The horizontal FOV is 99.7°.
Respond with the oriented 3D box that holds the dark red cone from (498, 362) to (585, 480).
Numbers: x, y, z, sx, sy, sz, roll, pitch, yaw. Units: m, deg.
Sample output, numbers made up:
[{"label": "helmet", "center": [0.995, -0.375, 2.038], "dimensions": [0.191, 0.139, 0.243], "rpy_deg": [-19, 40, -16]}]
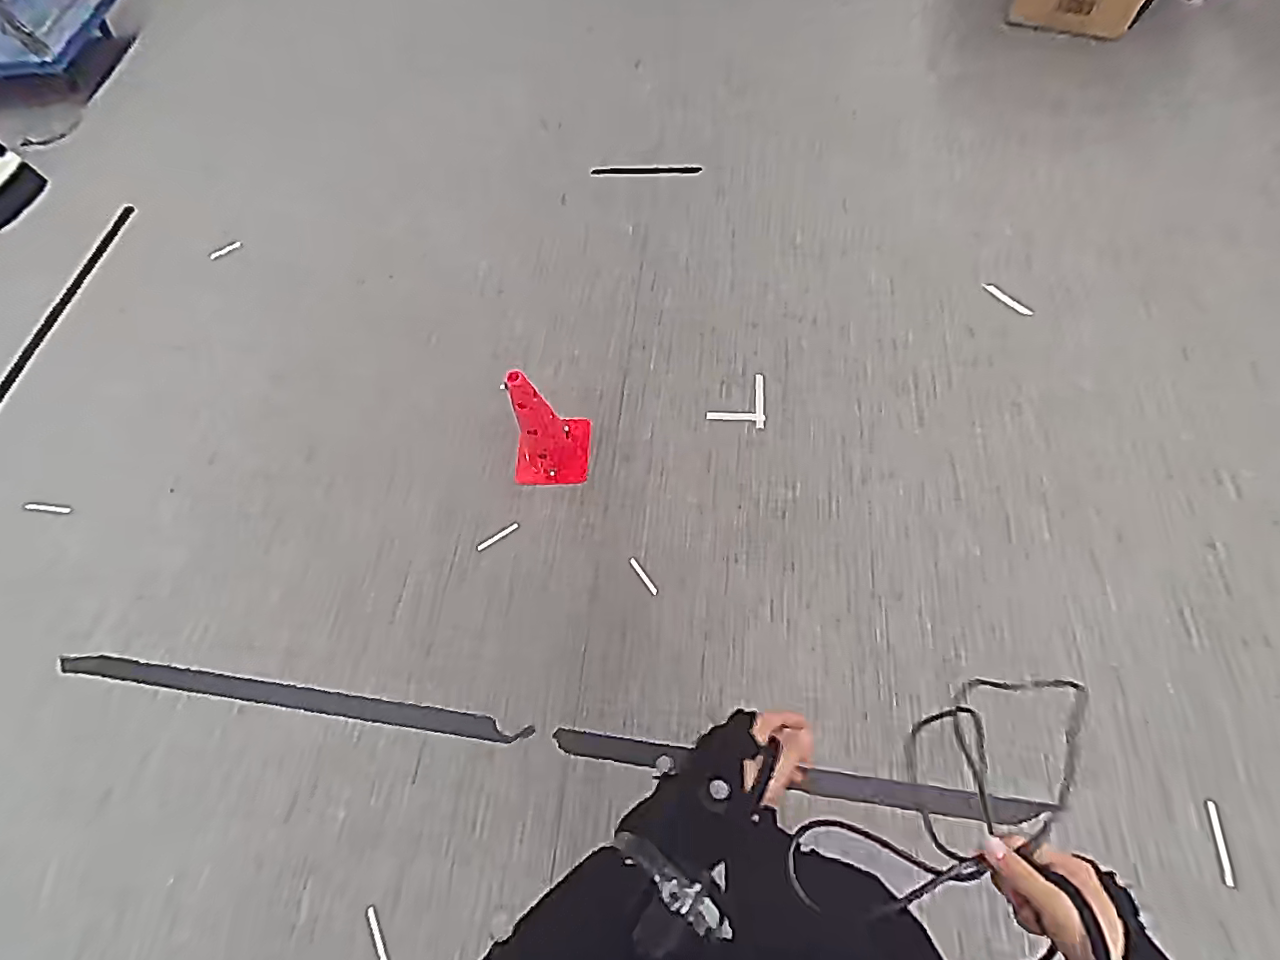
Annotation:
[{"label": "dark red cone", "center": [-0.264, -0.158, 1.306], "dimensions": [0.202, 0.394, 0.201], "rpy_deg": [-3, 67, 5]}]
